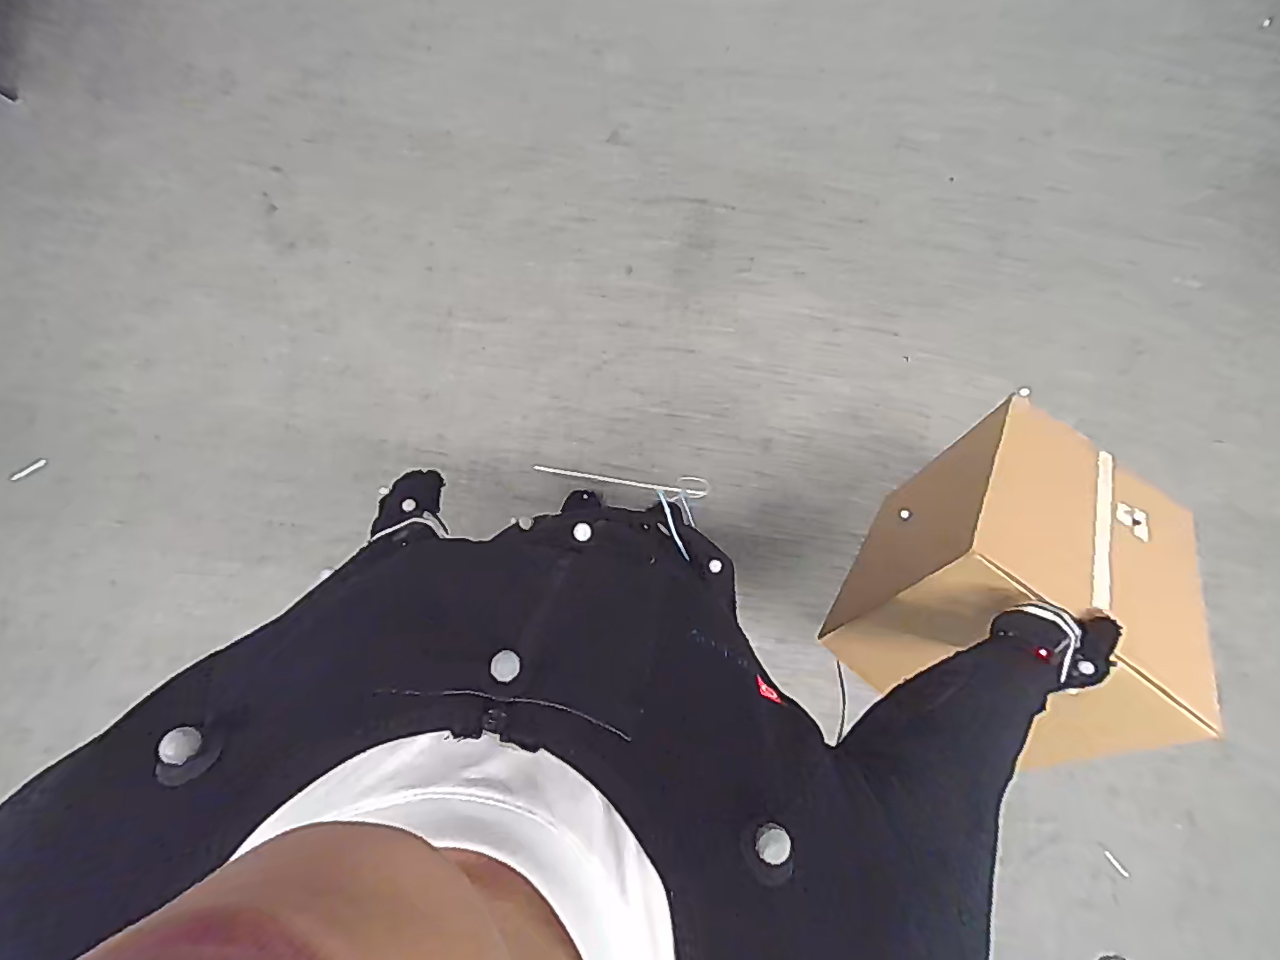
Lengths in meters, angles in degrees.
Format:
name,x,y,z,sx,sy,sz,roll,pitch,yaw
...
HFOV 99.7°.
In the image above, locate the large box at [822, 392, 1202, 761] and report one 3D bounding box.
name,x,y,z,sx,sy,sz,roll,pitch,yaw
large box,0.550,0.143,0.841,0.320,0.320,0.408,40,51,7
